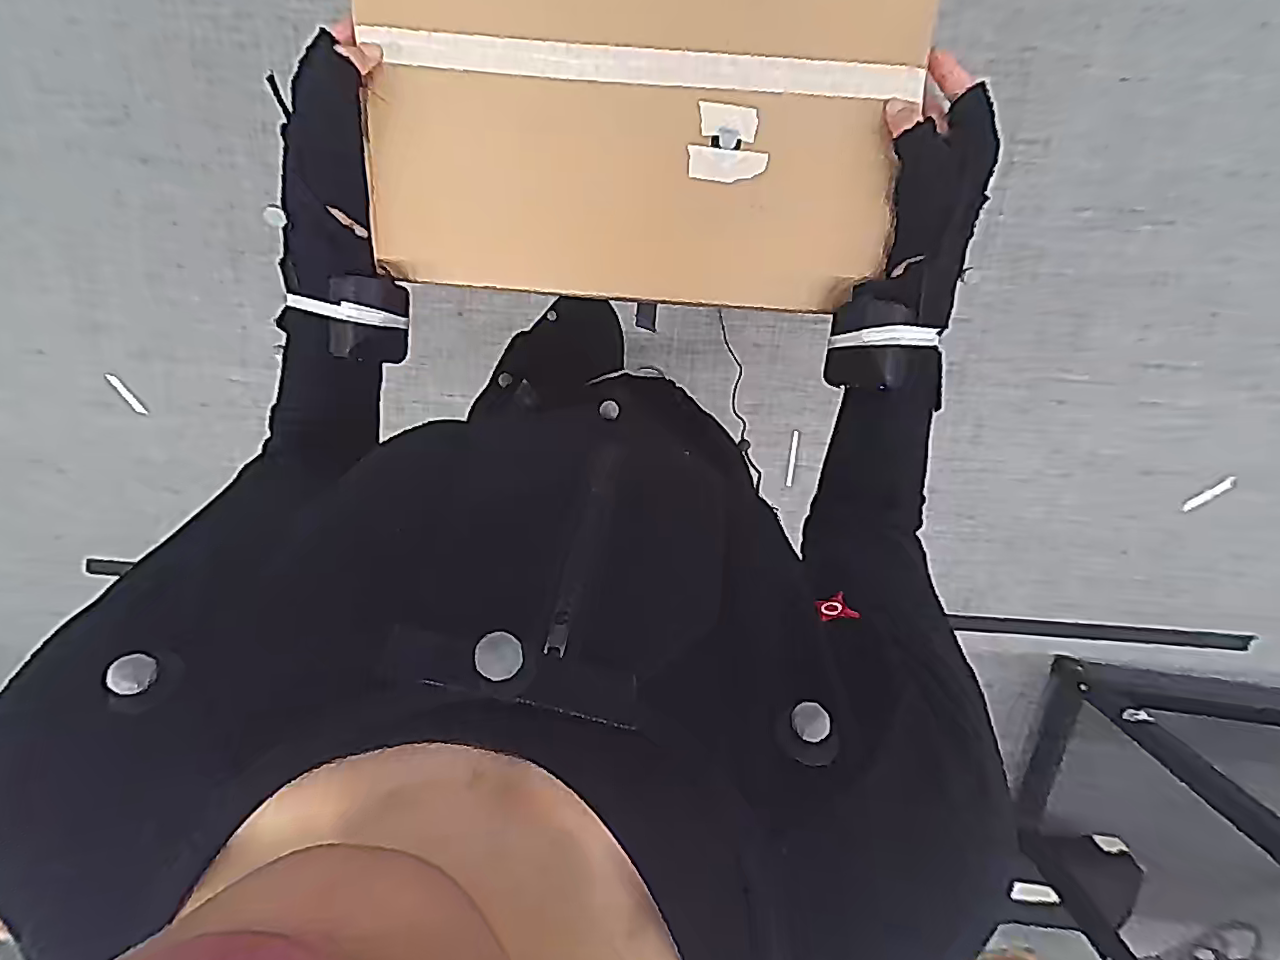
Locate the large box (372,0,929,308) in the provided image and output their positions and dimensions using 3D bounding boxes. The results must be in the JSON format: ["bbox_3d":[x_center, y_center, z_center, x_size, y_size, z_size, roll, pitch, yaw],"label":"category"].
[{"bbox_3d":[0.003,-0.346,0.541,0.408,0.320,0.320,4,109,-1],"label":"large box"}]
